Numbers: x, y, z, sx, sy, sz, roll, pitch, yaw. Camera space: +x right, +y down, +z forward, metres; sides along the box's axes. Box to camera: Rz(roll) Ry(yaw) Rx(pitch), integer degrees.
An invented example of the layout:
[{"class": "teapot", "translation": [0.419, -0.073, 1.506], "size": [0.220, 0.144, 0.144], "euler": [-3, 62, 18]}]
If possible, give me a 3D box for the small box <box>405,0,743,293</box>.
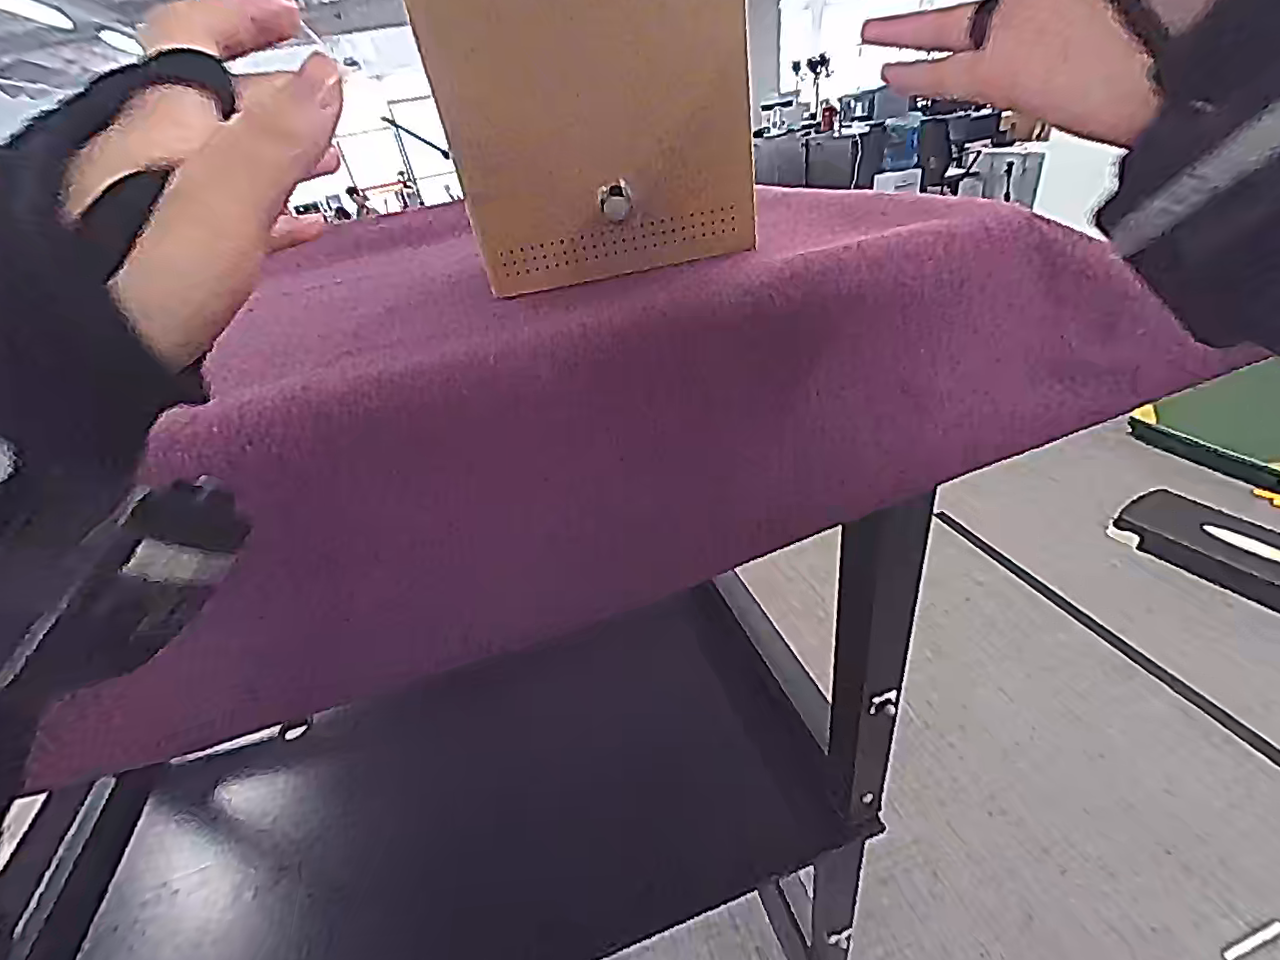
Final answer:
[{"class": "small box", "translation": [-0.032, -0.244, 0.370], "size": [0.179, 0.176, 0.168], "euler": [-12, 33, -1]}]
